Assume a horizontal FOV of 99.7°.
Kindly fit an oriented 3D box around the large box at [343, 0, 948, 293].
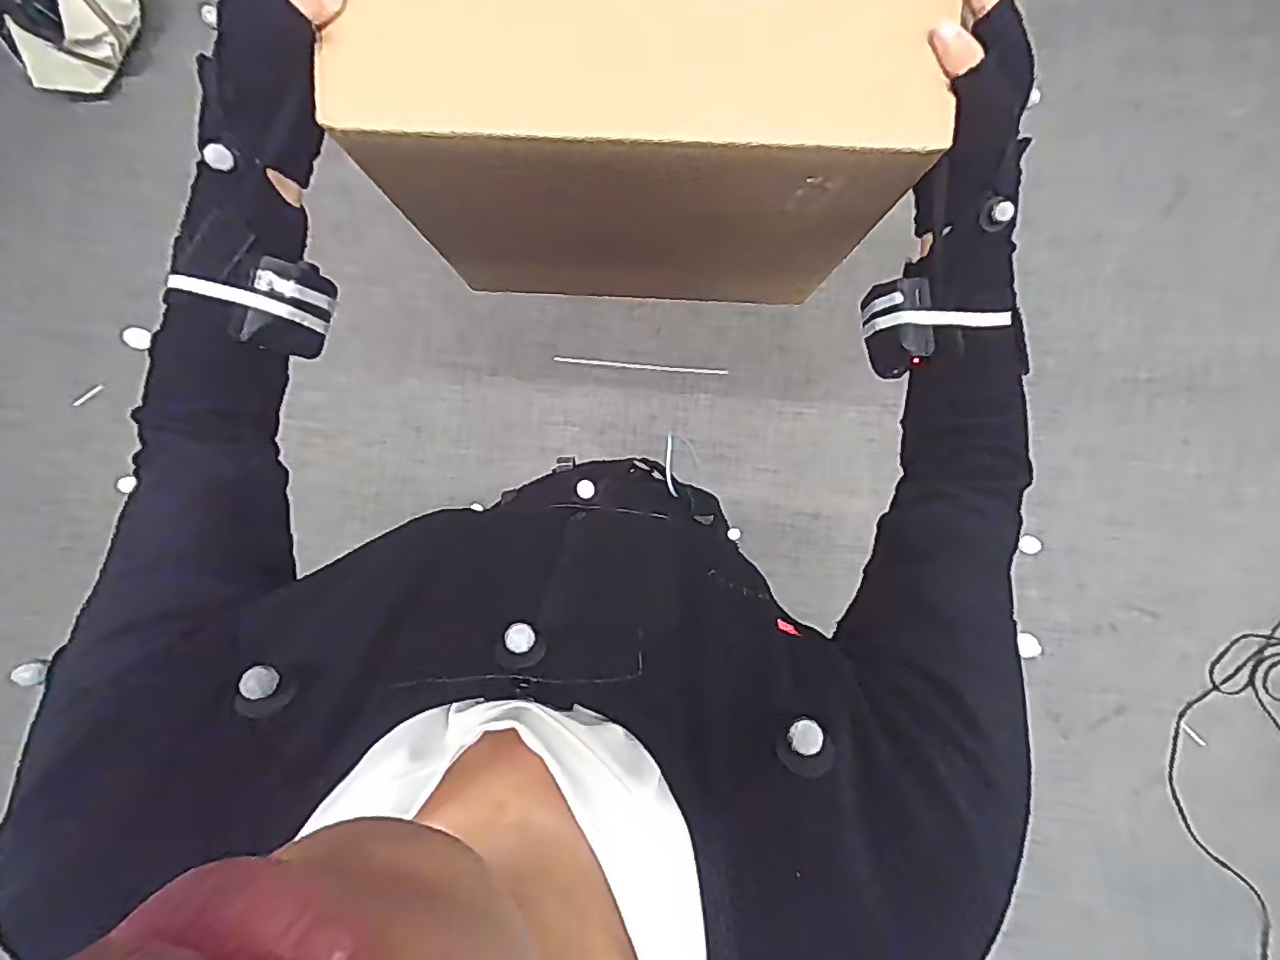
[{"bbox_3d":[0.004,-0.379,0.503,0.408,0.320,0.320,2,91,-1],"label":"large box"}]
